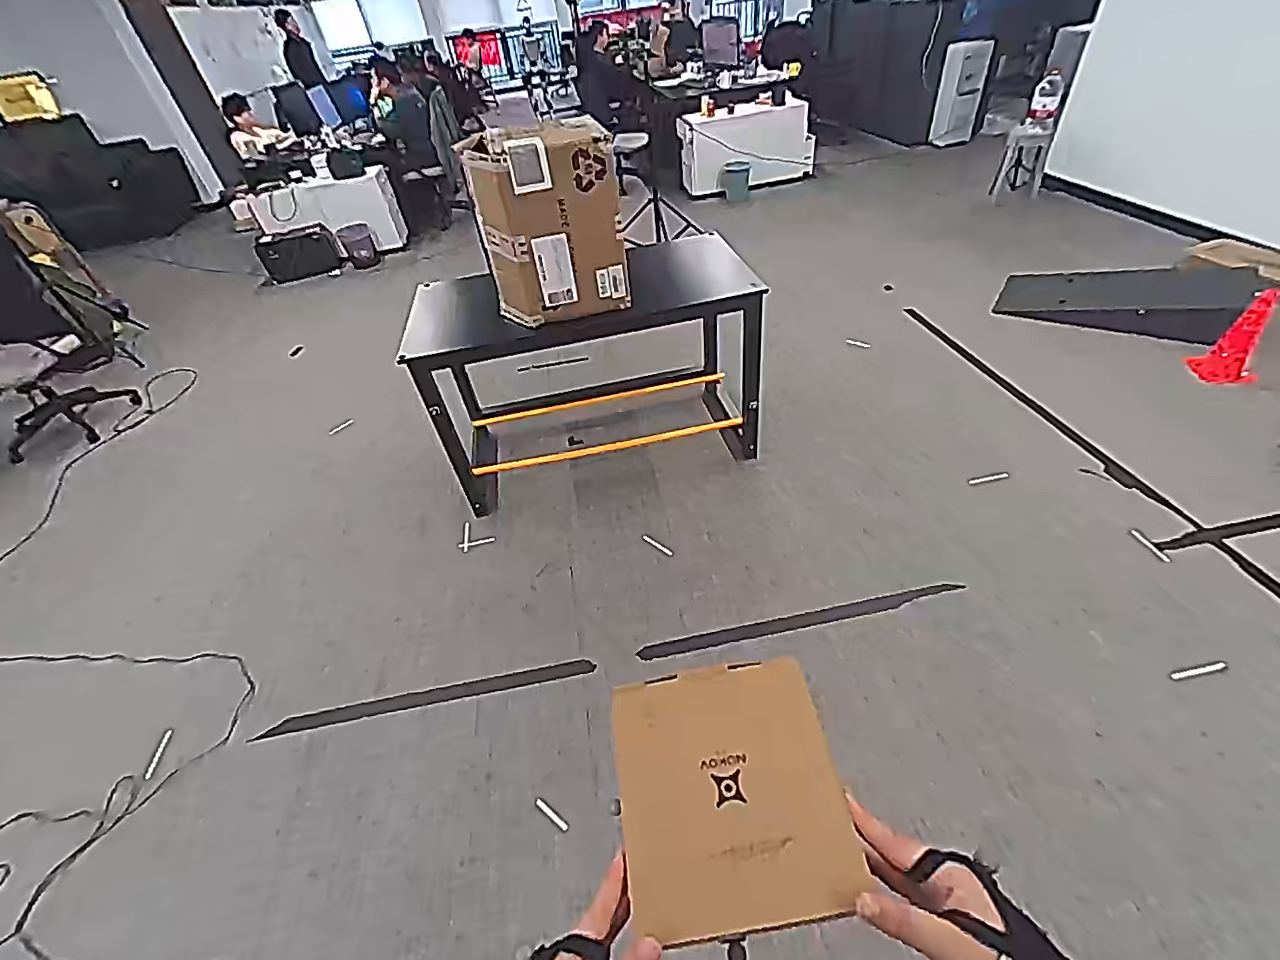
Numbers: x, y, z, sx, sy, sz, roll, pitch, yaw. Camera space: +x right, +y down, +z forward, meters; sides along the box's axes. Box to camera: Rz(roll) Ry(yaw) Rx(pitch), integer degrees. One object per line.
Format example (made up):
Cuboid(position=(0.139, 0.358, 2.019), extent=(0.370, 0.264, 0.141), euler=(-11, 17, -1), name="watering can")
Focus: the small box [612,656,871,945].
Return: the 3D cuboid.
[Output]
Cuboid(position=(0.071, 0.281, 0.474), extent=(0.168, 0.176, 0.179), euler=(-9, 49, -1), name="small box")
